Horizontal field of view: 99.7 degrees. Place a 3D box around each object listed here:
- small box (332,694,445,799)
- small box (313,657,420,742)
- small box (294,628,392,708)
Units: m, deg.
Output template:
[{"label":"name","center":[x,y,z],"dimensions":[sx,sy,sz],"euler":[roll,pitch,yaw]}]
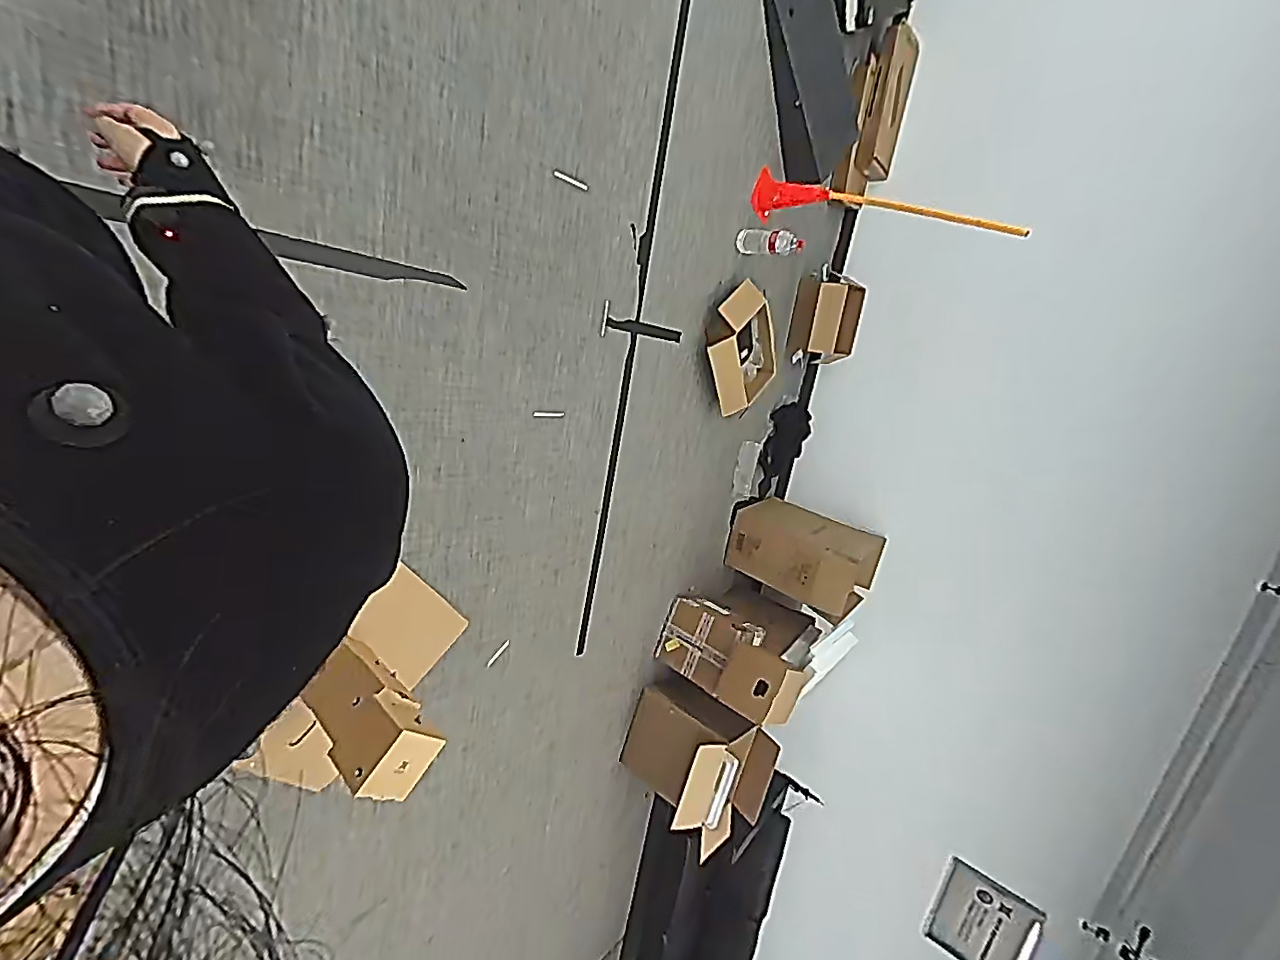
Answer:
[{"label":"small box","center":[-0.654,0.688,1.403],"dimensions":[0.179,0.176,0.168],"euler":[-54,142,-15]},{"label":"small box","center":[-0.764,0.626,1.507],"dimensions":[0.179,0.176,0.168],"euler":[-50,140,-21]},{"label":"small box","center":[-0.887,0.575,1.604],"dimensions":[0.179,0.176,0.168],"euler":[-50,141,-20]}]
